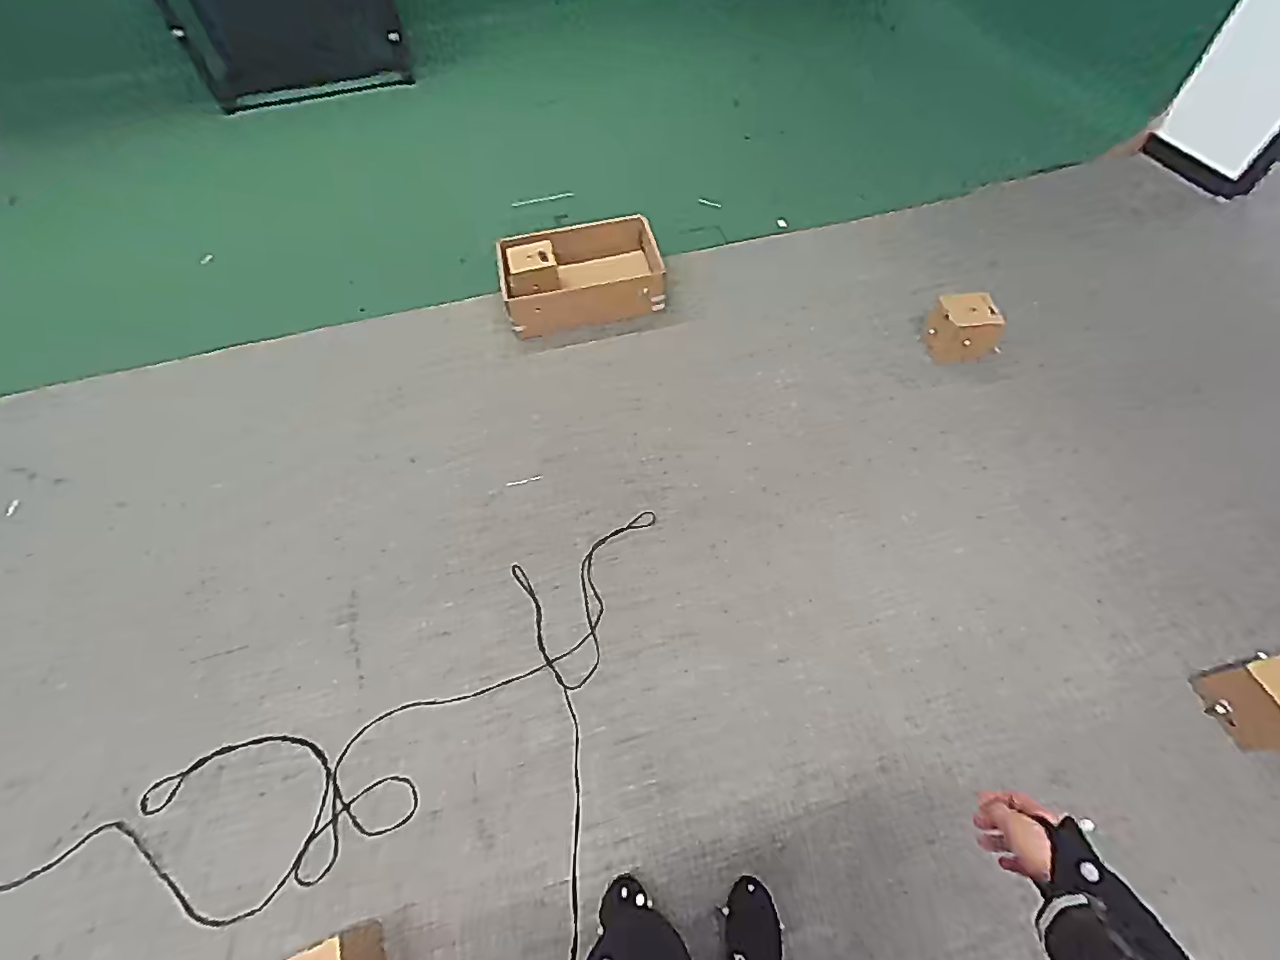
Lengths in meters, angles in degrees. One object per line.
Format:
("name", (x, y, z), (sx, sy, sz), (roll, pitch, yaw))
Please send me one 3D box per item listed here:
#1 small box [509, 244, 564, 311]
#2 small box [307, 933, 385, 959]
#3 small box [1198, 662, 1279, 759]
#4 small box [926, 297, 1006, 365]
("small box", (-0.404, -0.798, 2.134), (0.179, 0.176, 0.168), (-13, 58, -4))
("small box", (-0.593, 1.004, 1.021), (0.168, 0.176, 0.179), (-21, 57, -10))
("small box", (1.449, 0.511, 1.218), (0.179, 0.176, 0.168), (-14, 55, -4))
("small box", (1.142, -0.523, 1.915), (0.179, 0.176, 0.168), (-4, 56, 2))
